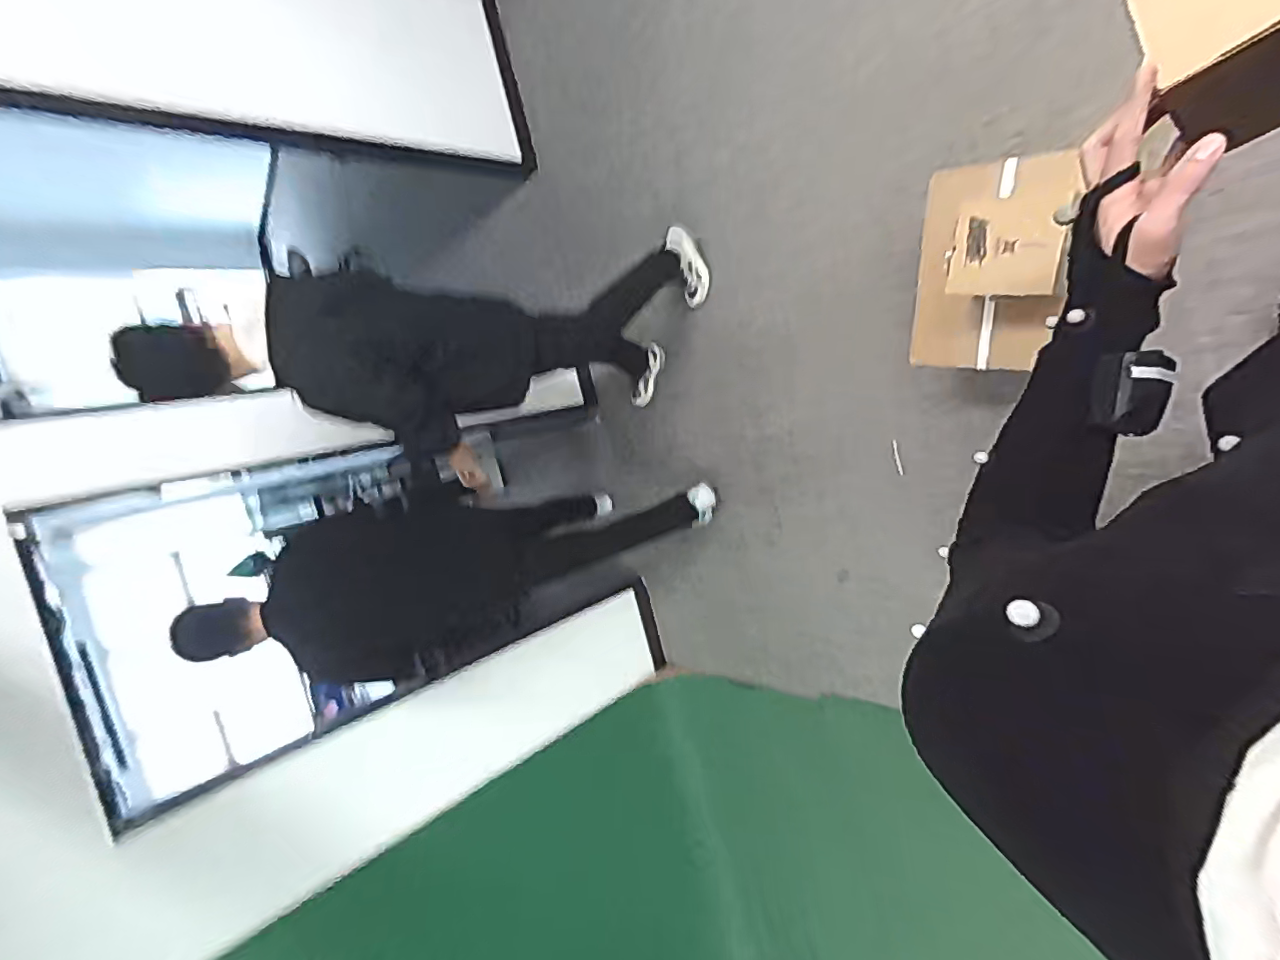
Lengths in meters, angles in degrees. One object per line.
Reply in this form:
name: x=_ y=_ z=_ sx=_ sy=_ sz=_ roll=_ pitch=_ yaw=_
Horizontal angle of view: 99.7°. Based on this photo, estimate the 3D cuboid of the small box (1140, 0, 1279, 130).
small box: x=0.473 y=-0.384 z=0.377 sx=0.168 sy=0.176 sz=0.179 roll=-17 pitch=79 yaw=52

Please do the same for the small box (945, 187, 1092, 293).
small box: x=0.709 y=-0.441 z=1.017 sx=0.179 sy=0.176 sz=0.168 roll=18 pitch=117 yaw=43
